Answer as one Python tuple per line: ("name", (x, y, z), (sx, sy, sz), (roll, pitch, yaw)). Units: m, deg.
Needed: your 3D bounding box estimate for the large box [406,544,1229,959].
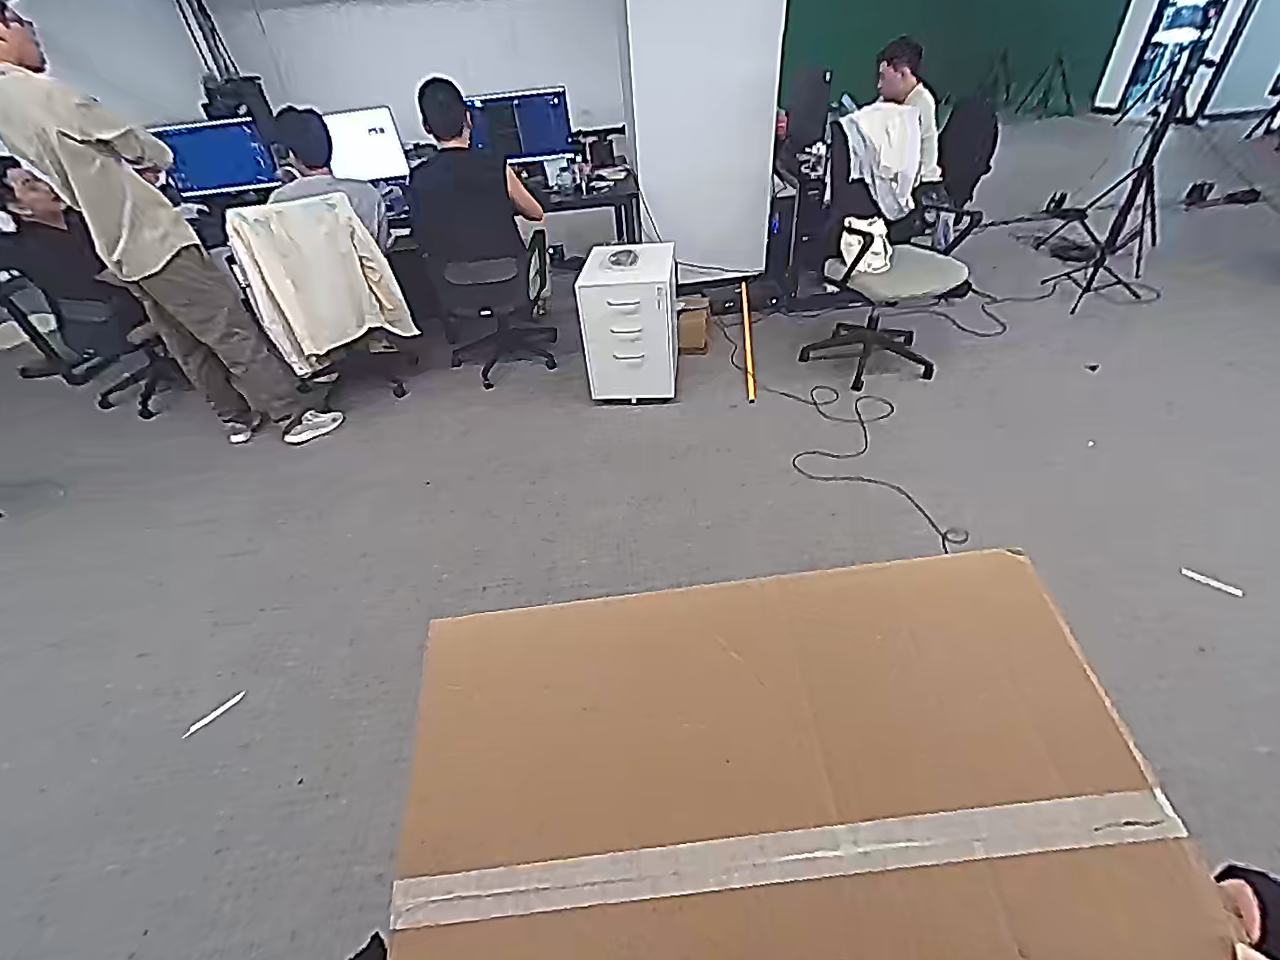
("large box", (0.085, 0.281, 0.417), (0.408, 0.320, 0.320), (-8, 56, 2))
